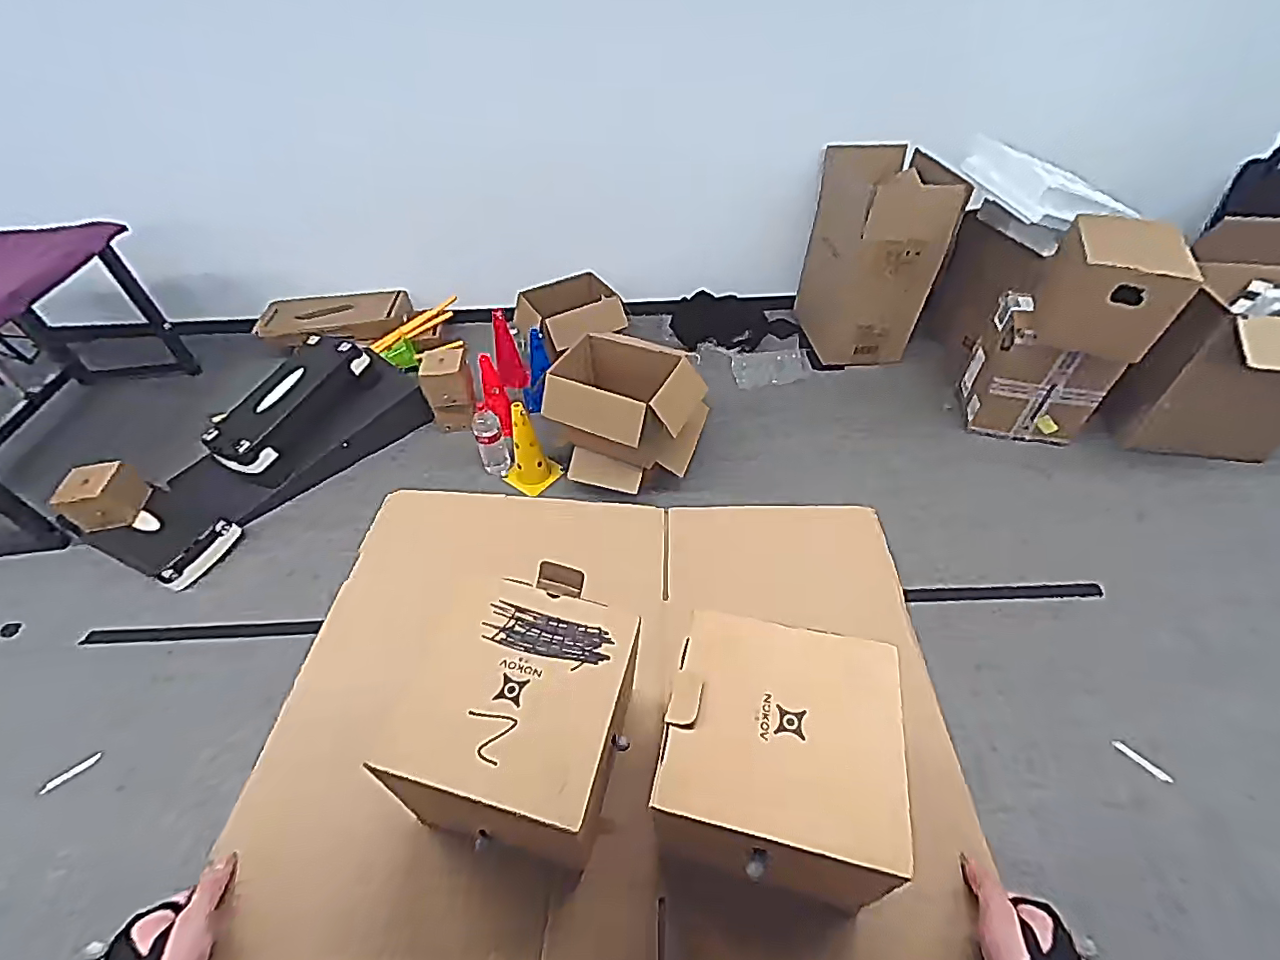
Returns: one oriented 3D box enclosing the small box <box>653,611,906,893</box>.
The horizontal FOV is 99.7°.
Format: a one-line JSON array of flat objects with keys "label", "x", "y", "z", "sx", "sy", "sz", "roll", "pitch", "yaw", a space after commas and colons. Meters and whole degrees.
[{"label": "small box", "x": 0.119, "y": 0.244, "z": 0.485, "sx": 0.179, "sy": 0.176, "sz": 0.168, "roll": 7, "pitch": 48, "yaw": 14}]
